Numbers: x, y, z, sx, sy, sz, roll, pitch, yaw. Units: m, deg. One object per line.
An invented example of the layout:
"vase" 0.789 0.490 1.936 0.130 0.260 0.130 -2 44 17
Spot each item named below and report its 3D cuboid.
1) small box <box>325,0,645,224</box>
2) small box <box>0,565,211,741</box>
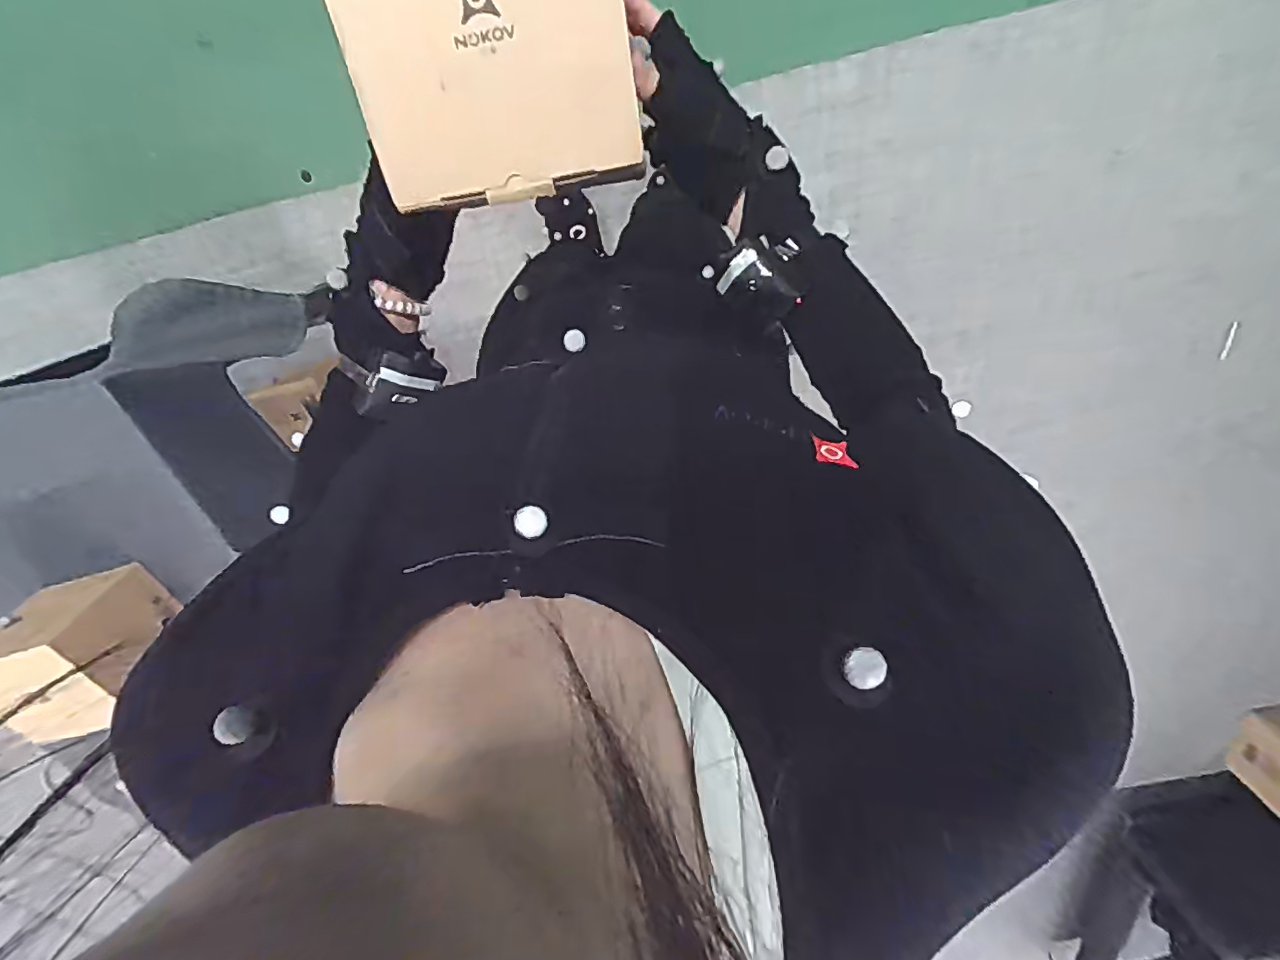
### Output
"small box" -0.088 -0.291 0.374 0.168 0.176 0.179 -8 119 5
"small box" -0.814 0.254 0.811 0.179 0.176 0.168 -15 122 5
